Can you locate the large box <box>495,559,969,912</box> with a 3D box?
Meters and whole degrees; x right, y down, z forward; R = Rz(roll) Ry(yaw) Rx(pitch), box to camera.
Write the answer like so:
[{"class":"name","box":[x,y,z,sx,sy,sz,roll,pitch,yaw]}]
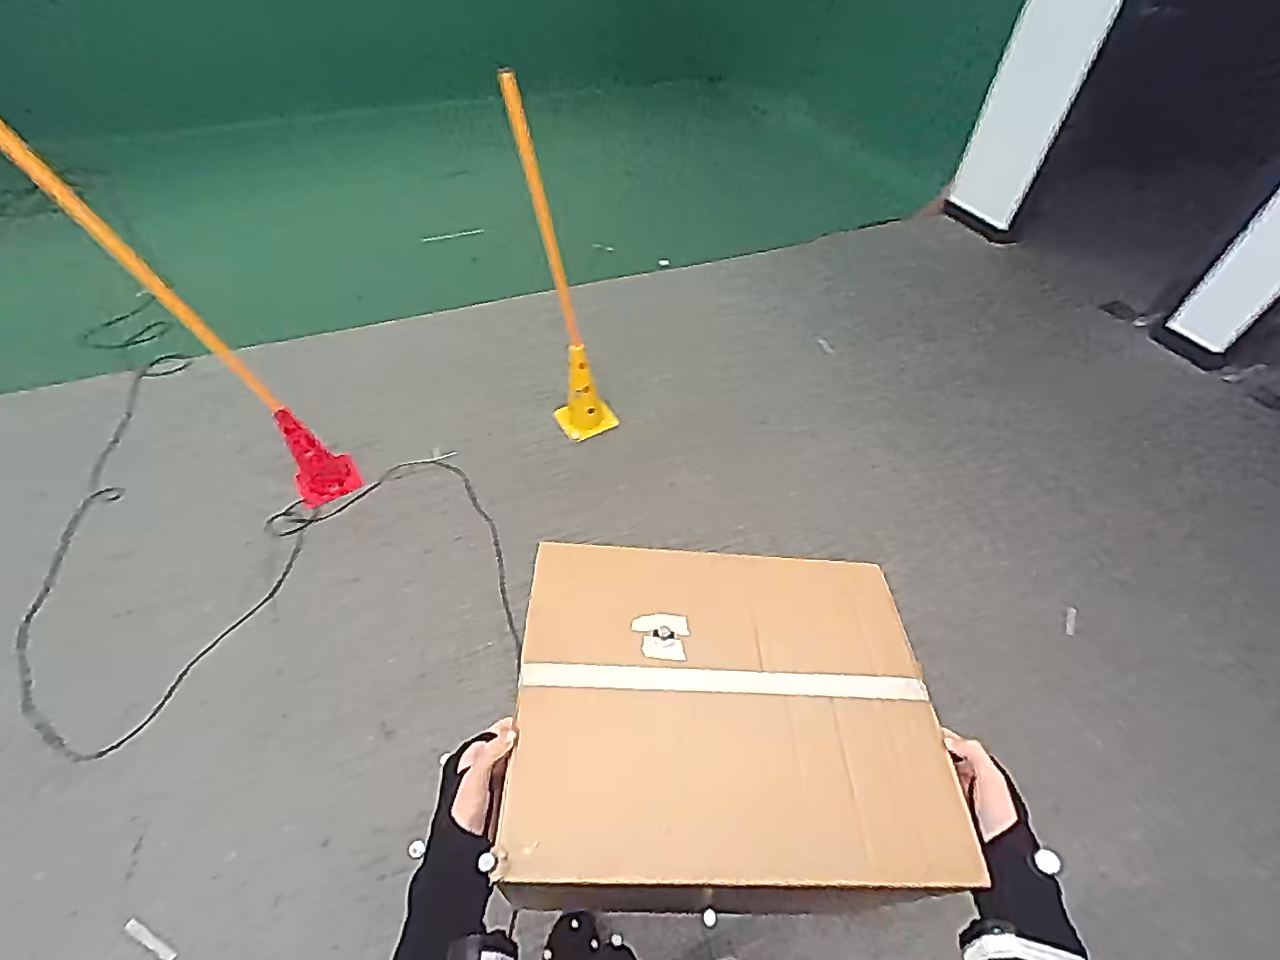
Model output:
[{"class":"large box","box":[0.067,0.310,0.646,0.408,0.320,0.320,3,48,-5]}]
